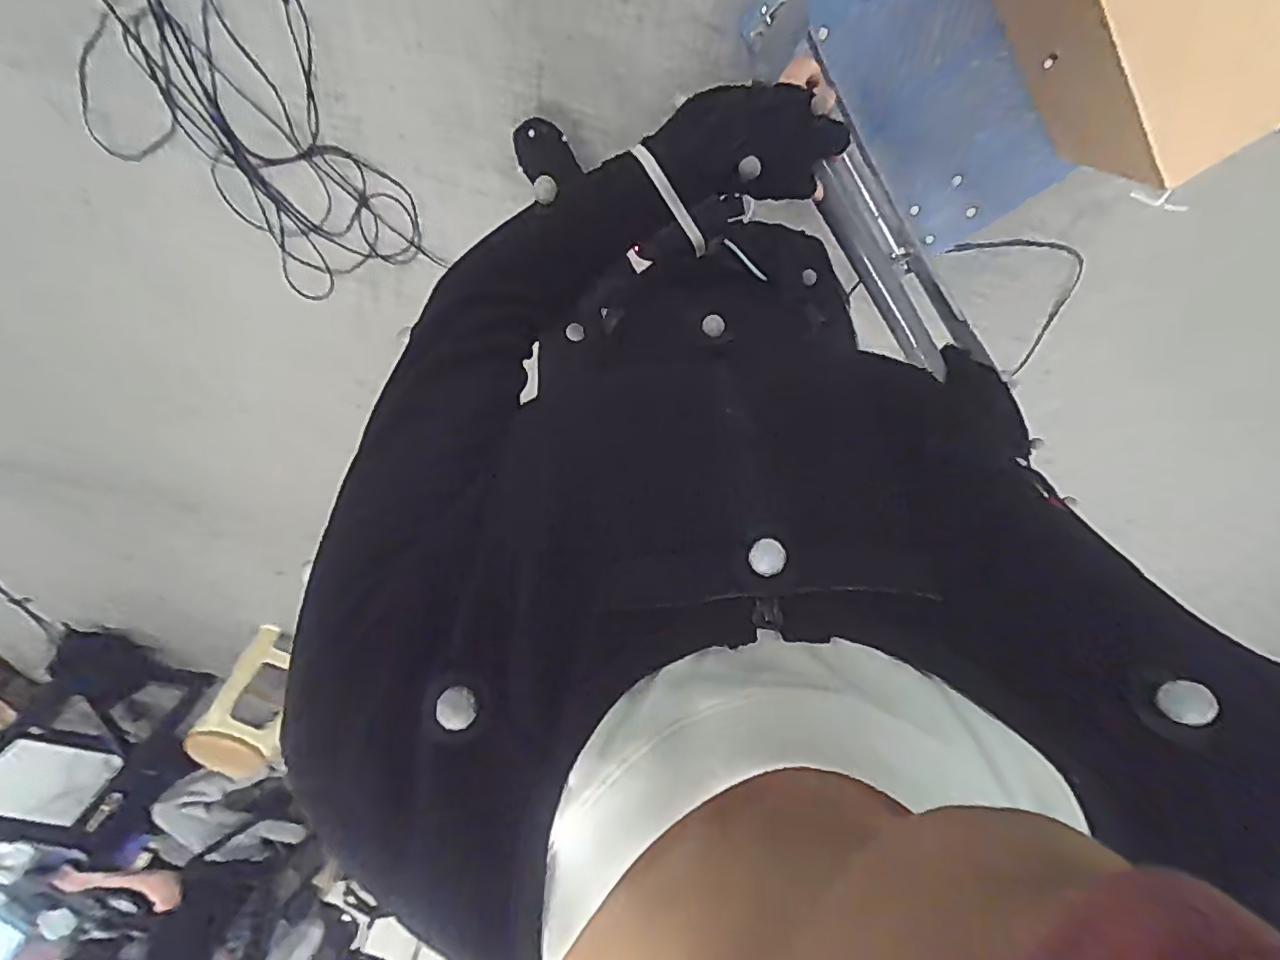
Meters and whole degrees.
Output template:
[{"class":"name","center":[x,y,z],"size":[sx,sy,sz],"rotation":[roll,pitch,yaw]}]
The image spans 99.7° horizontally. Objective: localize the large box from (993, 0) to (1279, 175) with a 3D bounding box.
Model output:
[{"class":"large box","center":[0.714,-0.704,0.715],"size":[0.320,0.320,0.408],"rotation":[-34,115,30]}]
